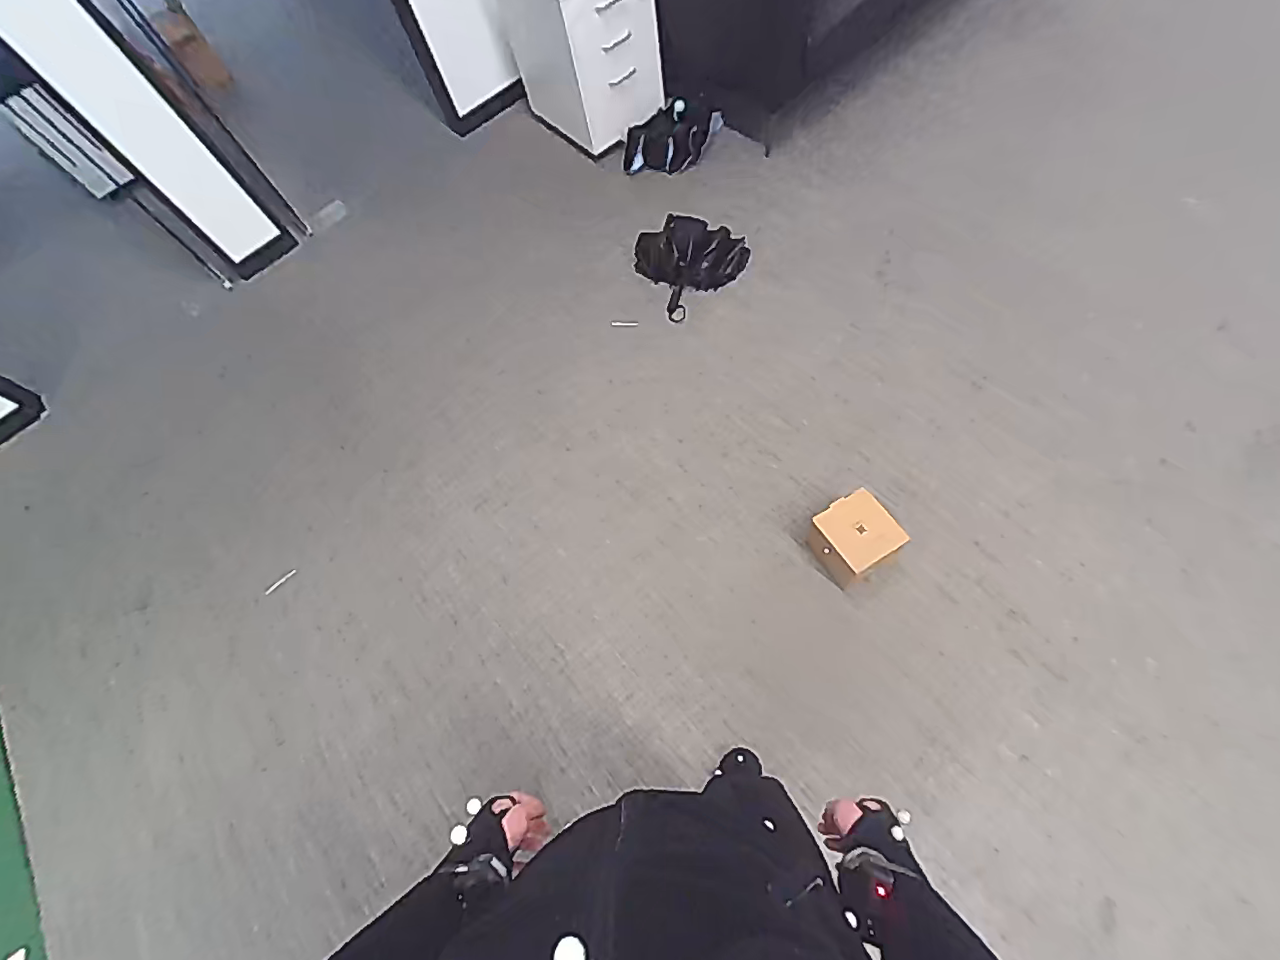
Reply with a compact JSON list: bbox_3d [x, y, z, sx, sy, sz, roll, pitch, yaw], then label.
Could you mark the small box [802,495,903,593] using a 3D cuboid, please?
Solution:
[{"bbox_3d":[0.552,0.175,1.434,0.168,0.176,0.179,-31,65,-5],"label":"small box"}]
